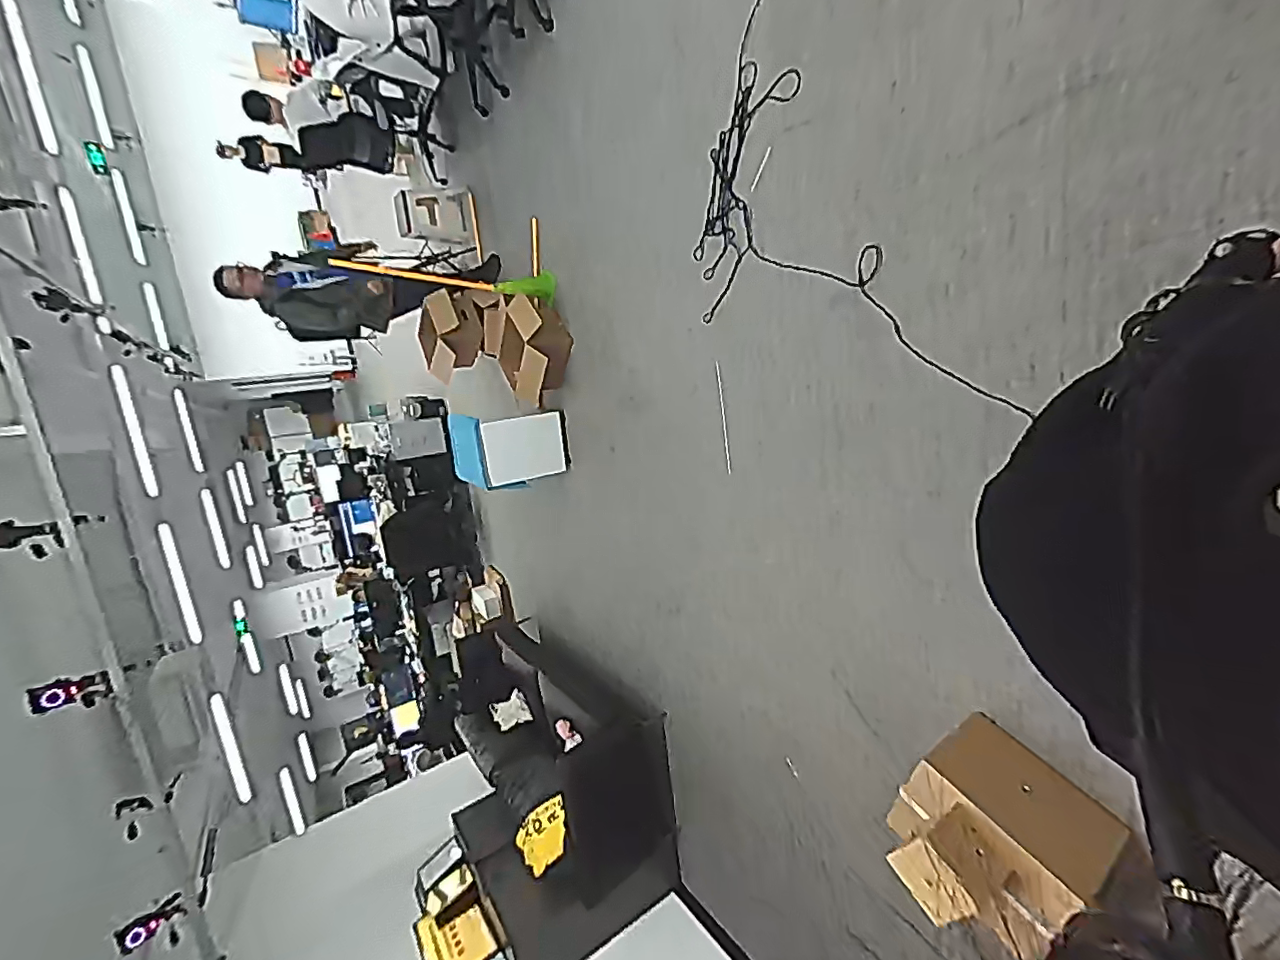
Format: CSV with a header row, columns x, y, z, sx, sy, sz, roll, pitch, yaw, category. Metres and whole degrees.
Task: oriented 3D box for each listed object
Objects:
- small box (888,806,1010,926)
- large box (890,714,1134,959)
x,y,z,sx,sy,sz,roll,pitch,yaw,category
0.772,0.960,1.352,0.168,0.176,0.179,52,139,35,small box
0.986,0.939,1.473,0.408,0.320,0.320,39,133,43,large box
